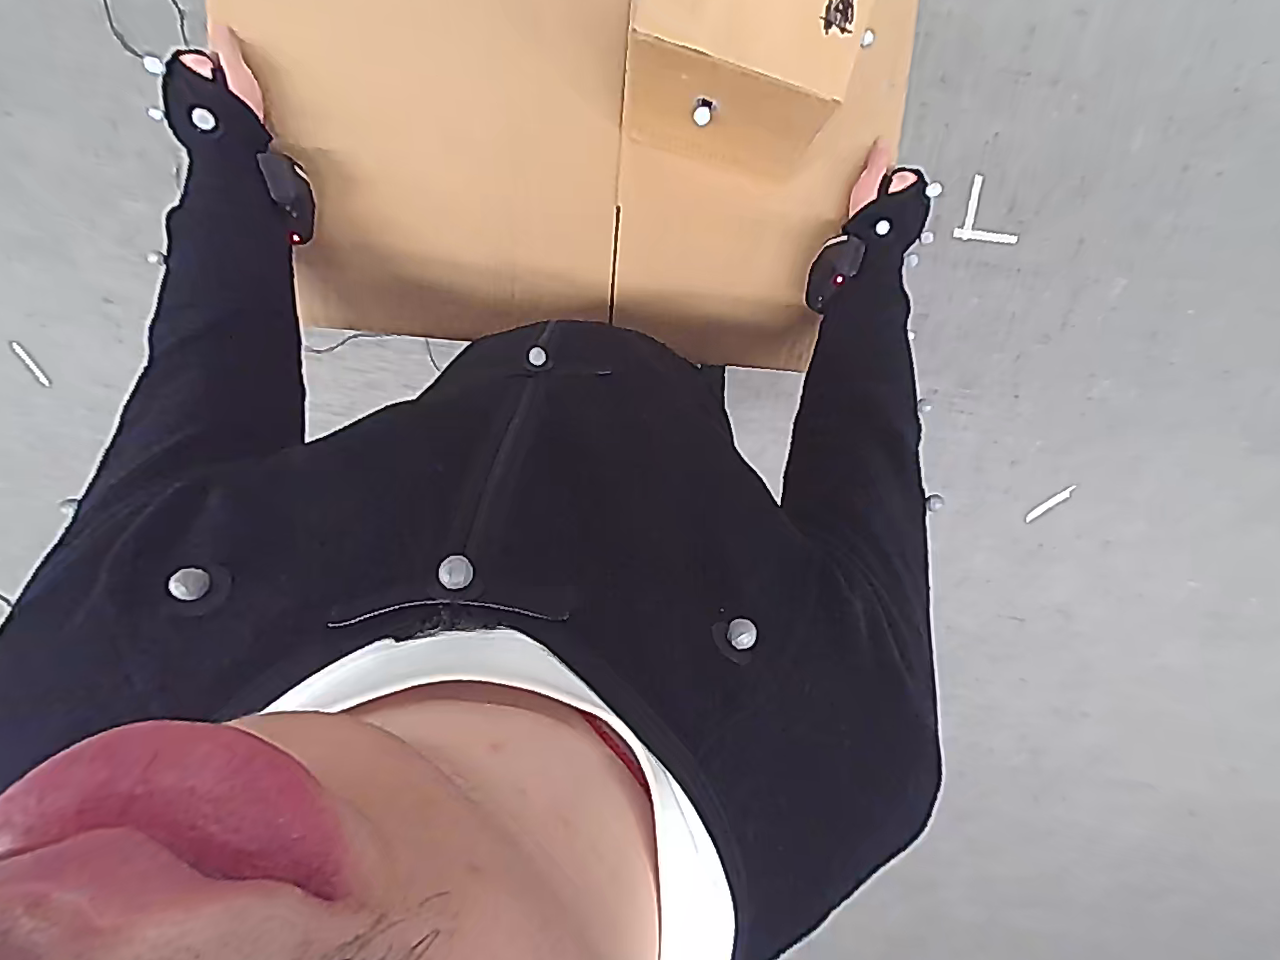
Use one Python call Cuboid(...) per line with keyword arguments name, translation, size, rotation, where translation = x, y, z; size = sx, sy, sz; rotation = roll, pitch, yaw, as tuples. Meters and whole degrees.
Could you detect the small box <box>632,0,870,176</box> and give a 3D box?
Cuboid(name="small box", translation=(0.097, -0.412, 0.497), size=(0.179, 0.176, 0.168), rotation=(16, 98, -3))
